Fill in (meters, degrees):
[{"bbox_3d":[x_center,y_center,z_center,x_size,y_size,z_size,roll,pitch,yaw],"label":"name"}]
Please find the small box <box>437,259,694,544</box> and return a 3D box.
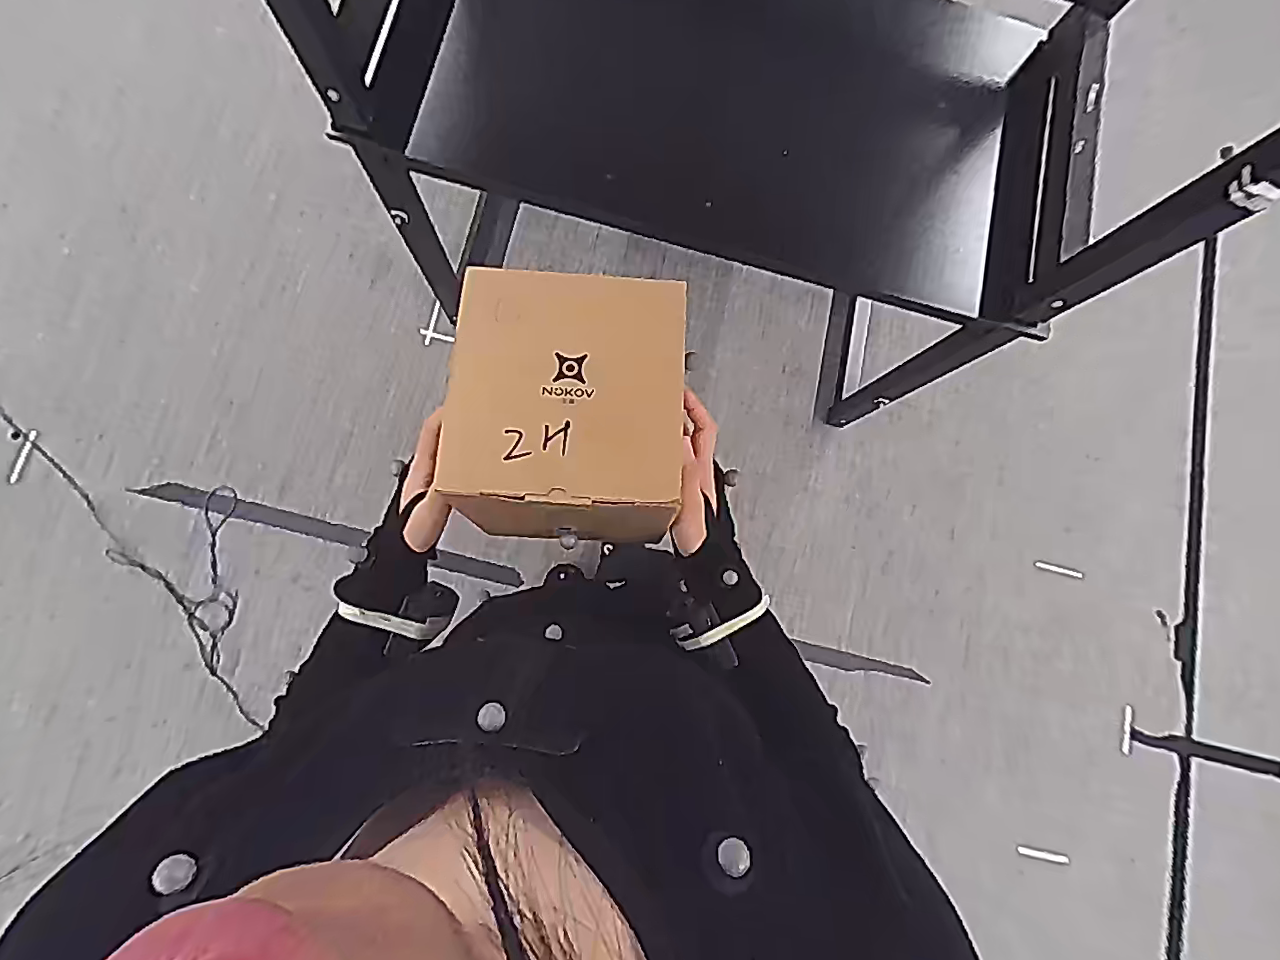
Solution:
[{"bbox_3d":[-0.051,-0.051,0.451,0.168,0.176,0.179,3,74,-2],"label":"small box"}]
